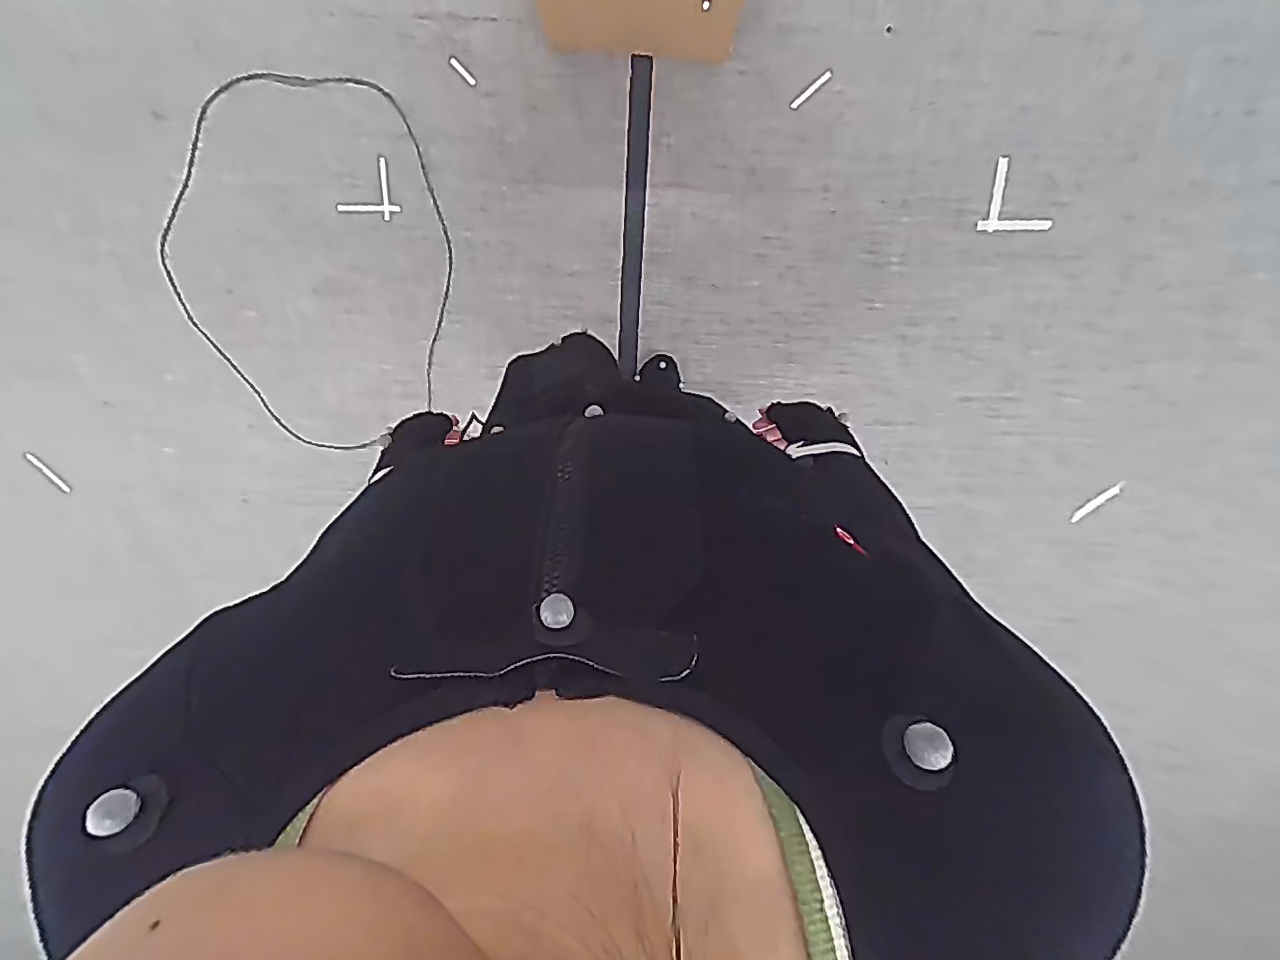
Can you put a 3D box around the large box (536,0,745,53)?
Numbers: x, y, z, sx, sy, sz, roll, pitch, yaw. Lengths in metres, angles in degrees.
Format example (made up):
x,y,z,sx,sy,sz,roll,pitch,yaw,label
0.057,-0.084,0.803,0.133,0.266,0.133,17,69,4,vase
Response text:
x,y,z,sx,sy,sz,roll,pitch,yaw,label
0.007,-1.067,1.027,0.408,0.320,0.320,4,107,-1,large box
